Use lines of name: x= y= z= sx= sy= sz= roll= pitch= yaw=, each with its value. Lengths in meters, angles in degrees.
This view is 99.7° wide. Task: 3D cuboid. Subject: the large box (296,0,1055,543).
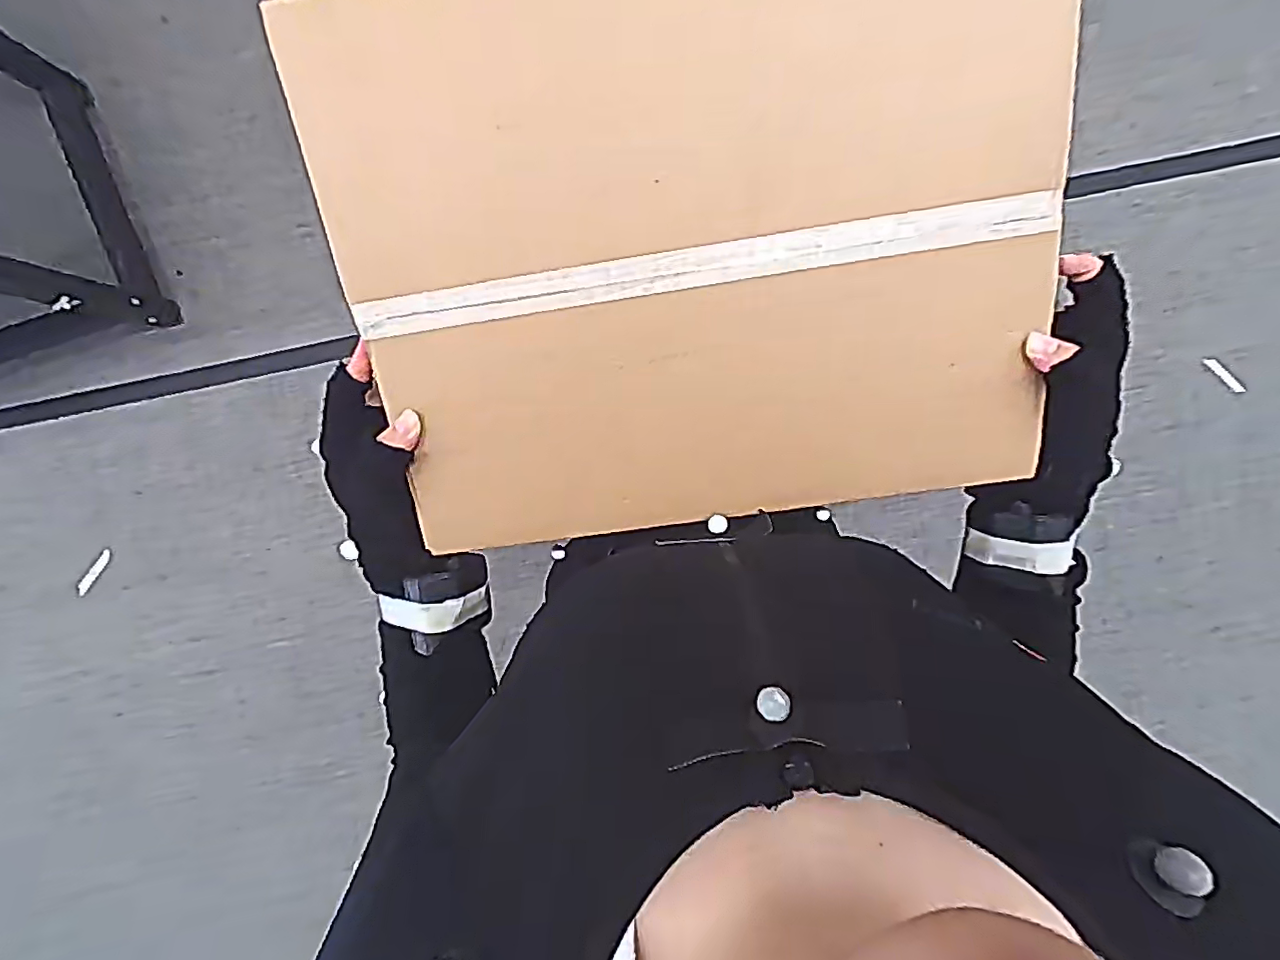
large box: x=0.032 y=-0.173 z=0.462 sx=0.408 sy=0.320 sz=0.320 roll=-8 pitch=109 yaw=3
